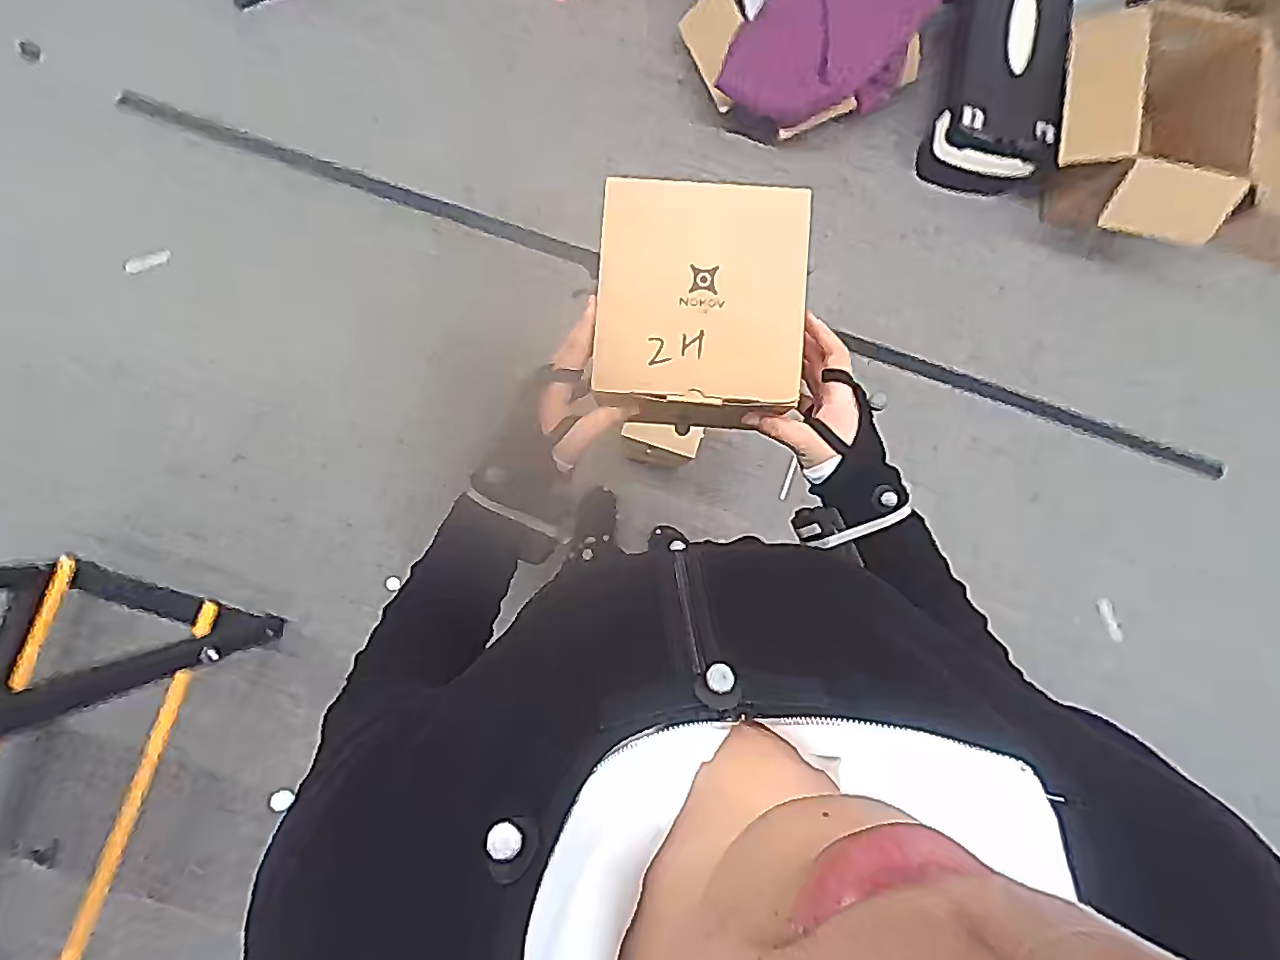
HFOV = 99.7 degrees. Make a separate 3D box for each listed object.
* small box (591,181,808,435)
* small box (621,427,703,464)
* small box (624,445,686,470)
[{"bbox_3d":[0.048,-0.143,0.504,0.168,0.176,0.179,3,88,1],"label":"small box"},{"bbox_3d":[0.061,-0.143,1.280,0.179,0.176,0.168,18,86,-1],"label":"small box"},{"bbox_3d":[0.054,-0.132,1.444,0.168,0.176,0.179,14,87,-1],"label":"small box"}]
